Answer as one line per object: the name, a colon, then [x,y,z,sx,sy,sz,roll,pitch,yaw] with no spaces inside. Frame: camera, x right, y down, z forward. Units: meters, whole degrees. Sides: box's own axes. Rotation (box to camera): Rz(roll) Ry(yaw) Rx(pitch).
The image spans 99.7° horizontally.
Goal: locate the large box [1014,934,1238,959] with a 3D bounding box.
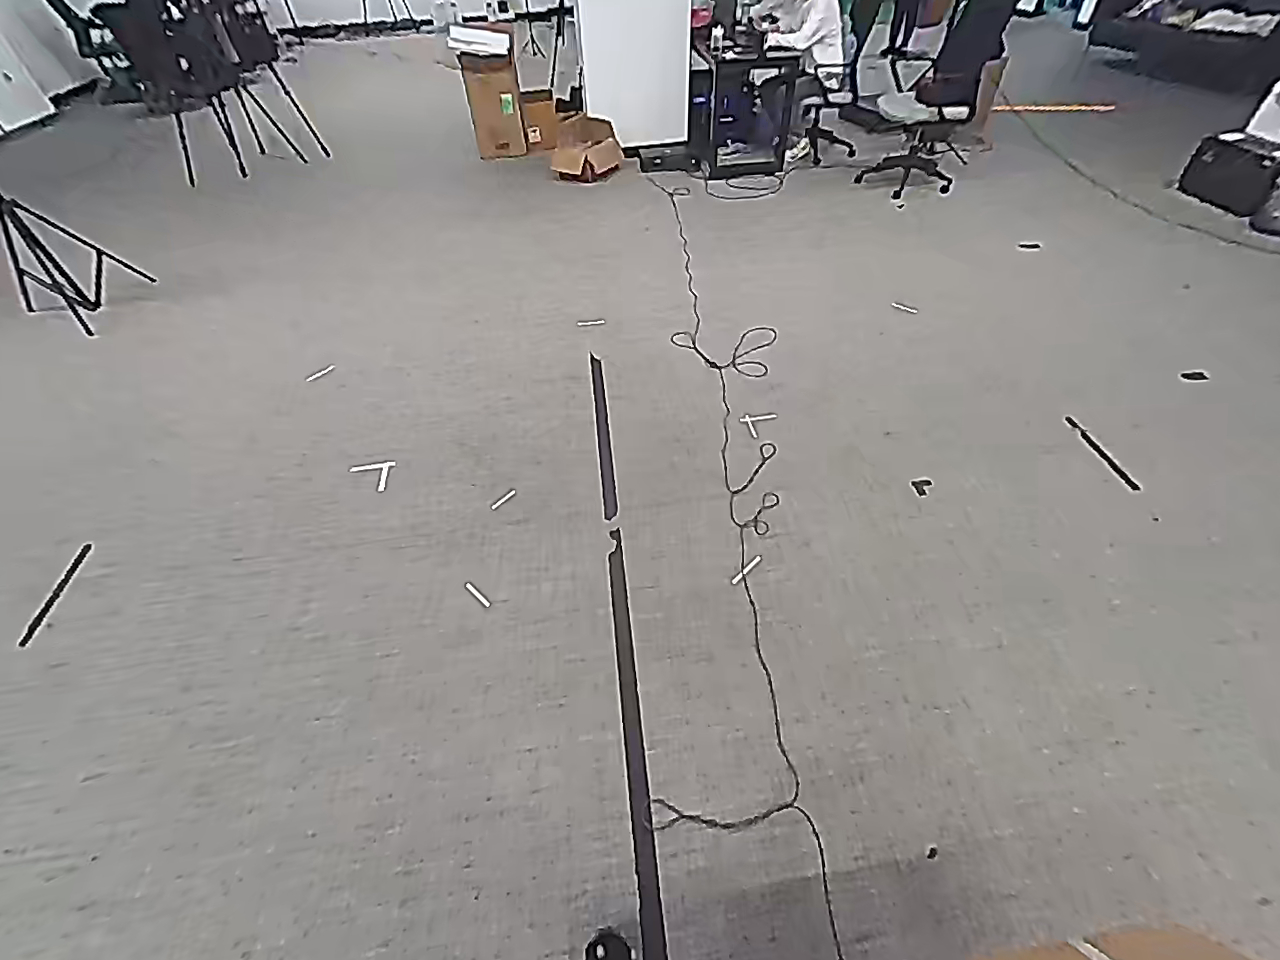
large box: [0.634,0.739,0.527,0.320,0.408,0.320,-12,70,1]
